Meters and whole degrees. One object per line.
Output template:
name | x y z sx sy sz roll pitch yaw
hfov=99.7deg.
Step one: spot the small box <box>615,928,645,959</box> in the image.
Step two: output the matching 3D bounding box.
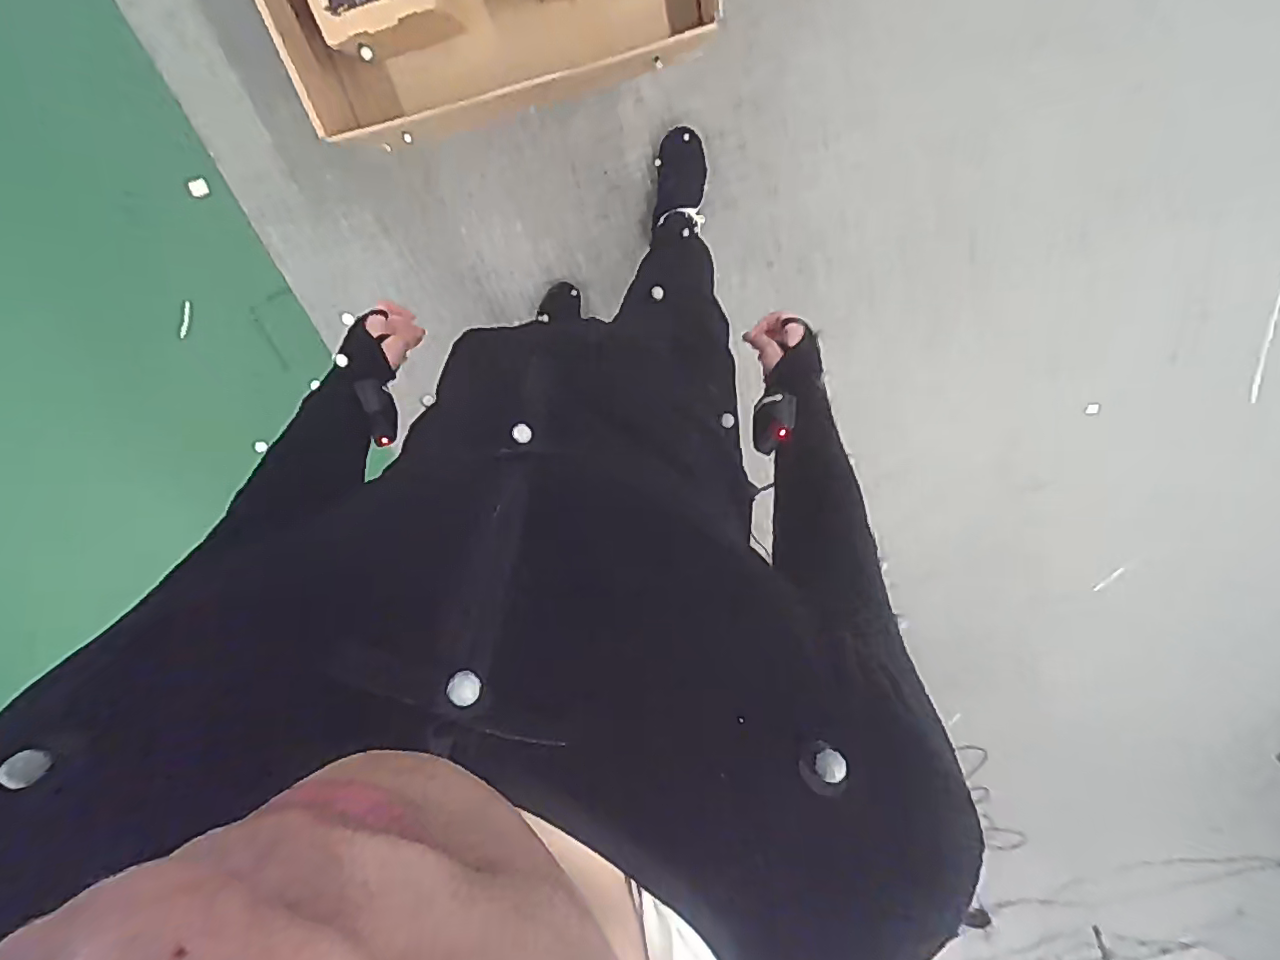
small box | -0.081 1.667 1.846 0.168 0.176 0.179 -14 121 8
